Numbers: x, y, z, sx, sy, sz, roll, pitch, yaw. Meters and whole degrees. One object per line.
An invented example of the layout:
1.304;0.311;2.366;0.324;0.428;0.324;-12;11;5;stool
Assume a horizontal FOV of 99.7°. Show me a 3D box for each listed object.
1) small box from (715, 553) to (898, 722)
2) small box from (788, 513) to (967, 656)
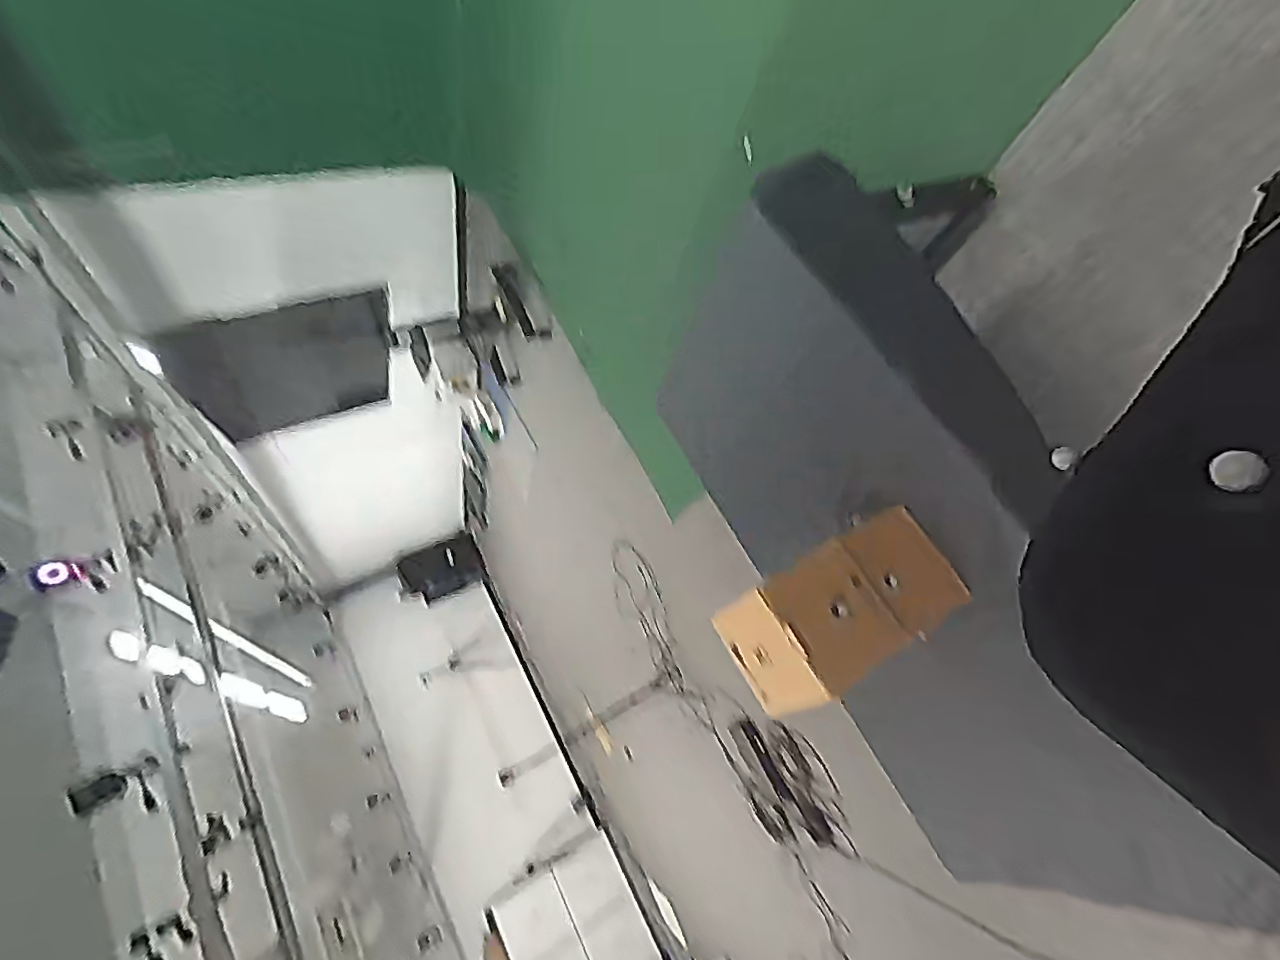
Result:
0.251;0.234;0.813;0.168;0.176;0.179;58;151;19;small box
0.386;0.182;0.890;0.179;0.176;0.168;60;152;19;small box
